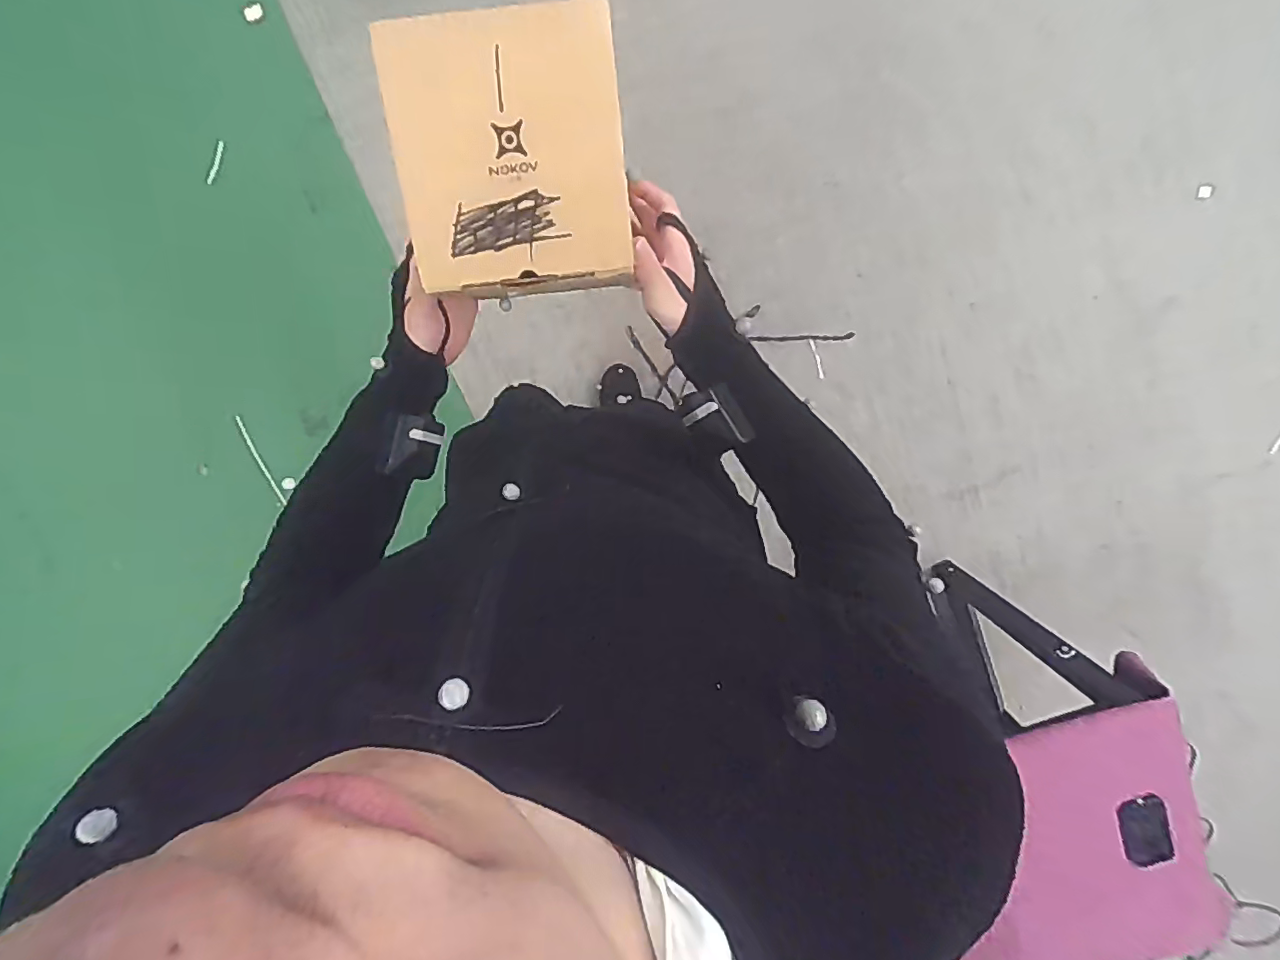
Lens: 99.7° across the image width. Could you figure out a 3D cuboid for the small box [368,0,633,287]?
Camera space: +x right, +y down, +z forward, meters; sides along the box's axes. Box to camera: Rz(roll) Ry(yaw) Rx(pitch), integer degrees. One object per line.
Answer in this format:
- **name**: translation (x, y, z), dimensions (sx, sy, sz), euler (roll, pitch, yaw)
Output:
- **small box**: translation (-0.095, -0.263, 0.461), dimensions (0.168, 0.176, 0.179), euler (-5, 107, 1)
